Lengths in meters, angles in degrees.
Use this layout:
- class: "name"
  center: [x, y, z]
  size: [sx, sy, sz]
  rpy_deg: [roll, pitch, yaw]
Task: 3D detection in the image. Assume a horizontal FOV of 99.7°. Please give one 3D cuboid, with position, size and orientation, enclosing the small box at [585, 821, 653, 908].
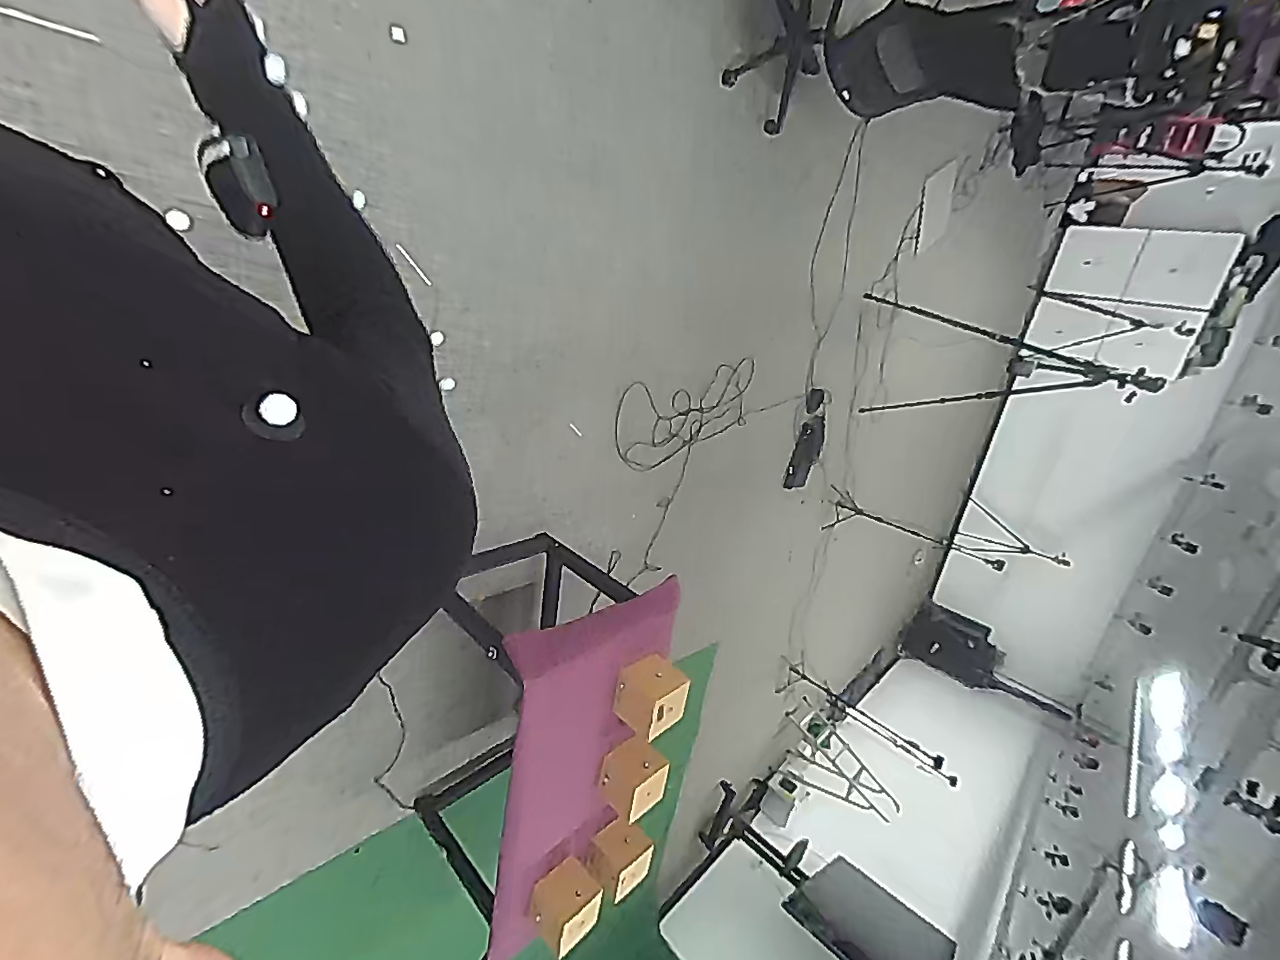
- class: "small box"
  center: [-0.079, 1.430, 2.029]
  size: [0.179, 0.176, 0.168]
  rpy_deg: [-11, 117, -46]

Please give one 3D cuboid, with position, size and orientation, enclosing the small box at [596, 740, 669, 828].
- class: "small box"
  center: [-0.027, 1.054, 1.893]
  size: [0.179, 0.176, 0.168]
  rpy_deg: [-10, 116, -46]

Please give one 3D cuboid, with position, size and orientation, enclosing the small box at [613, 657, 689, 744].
- class: "small box"
  center: [0.032, 0.719, 1.780]
  size: [0.179, 0.176, 0.168]
  rpy_deg: [-12, 119, -46]

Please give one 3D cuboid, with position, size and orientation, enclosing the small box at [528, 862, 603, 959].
- class: "small box"
  center: [-0.255, 1.460, 1.837]
  size: [0.179, 0.176, 0.168]
  rpy_deg: [-10, 115, -48]
